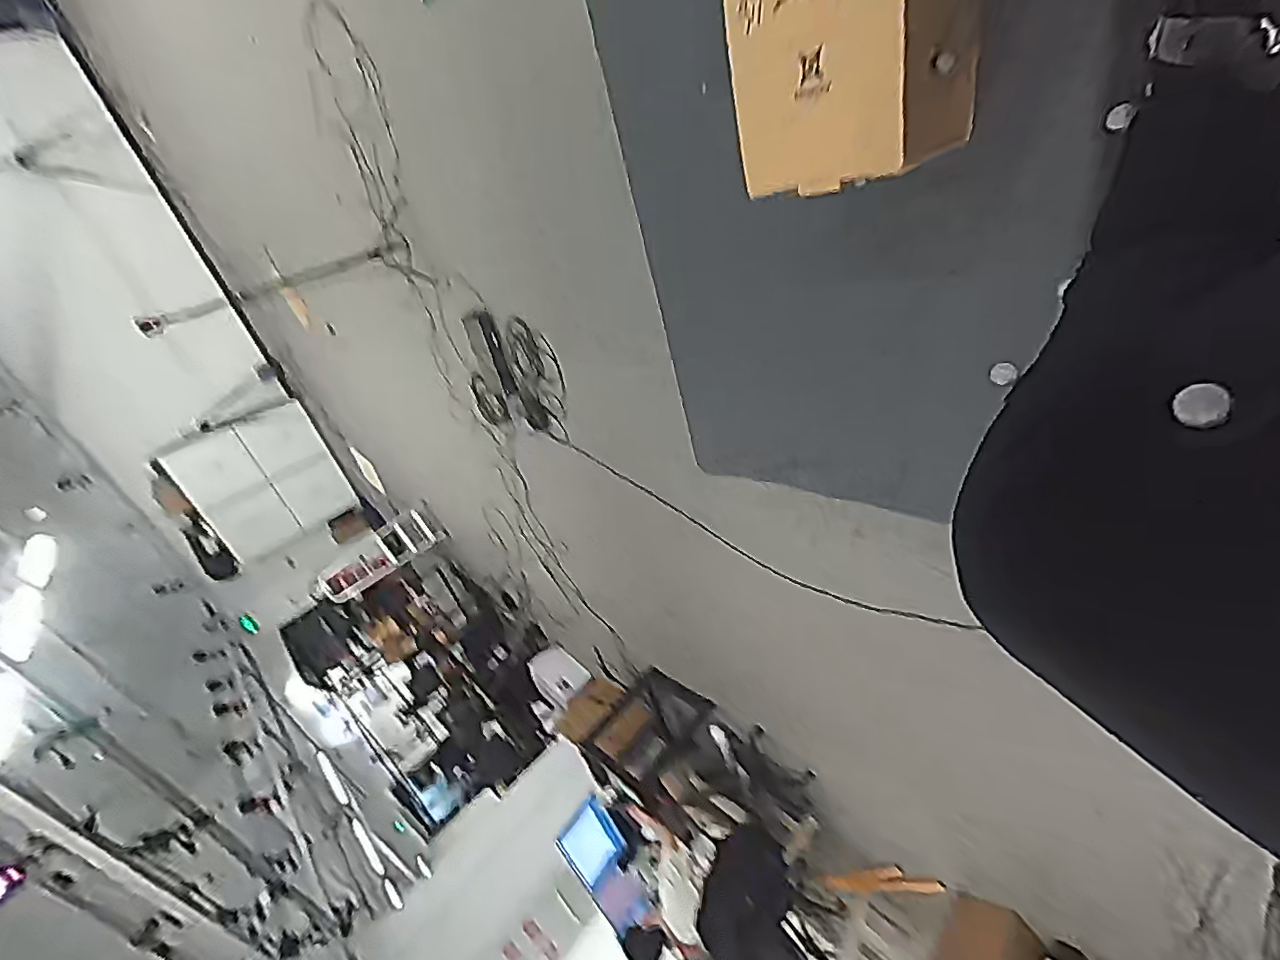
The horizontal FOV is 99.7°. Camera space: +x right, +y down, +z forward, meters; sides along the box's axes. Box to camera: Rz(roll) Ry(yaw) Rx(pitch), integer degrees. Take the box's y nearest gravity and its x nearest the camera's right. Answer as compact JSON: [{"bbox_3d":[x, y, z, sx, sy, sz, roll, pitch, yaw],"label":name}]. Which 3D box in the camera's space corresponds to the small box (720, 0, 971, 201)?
[{"bbox_3d":[0.208,-0.402,0.533,0.168,0.176,0.179,15,132,46],"label":"small box"}]
